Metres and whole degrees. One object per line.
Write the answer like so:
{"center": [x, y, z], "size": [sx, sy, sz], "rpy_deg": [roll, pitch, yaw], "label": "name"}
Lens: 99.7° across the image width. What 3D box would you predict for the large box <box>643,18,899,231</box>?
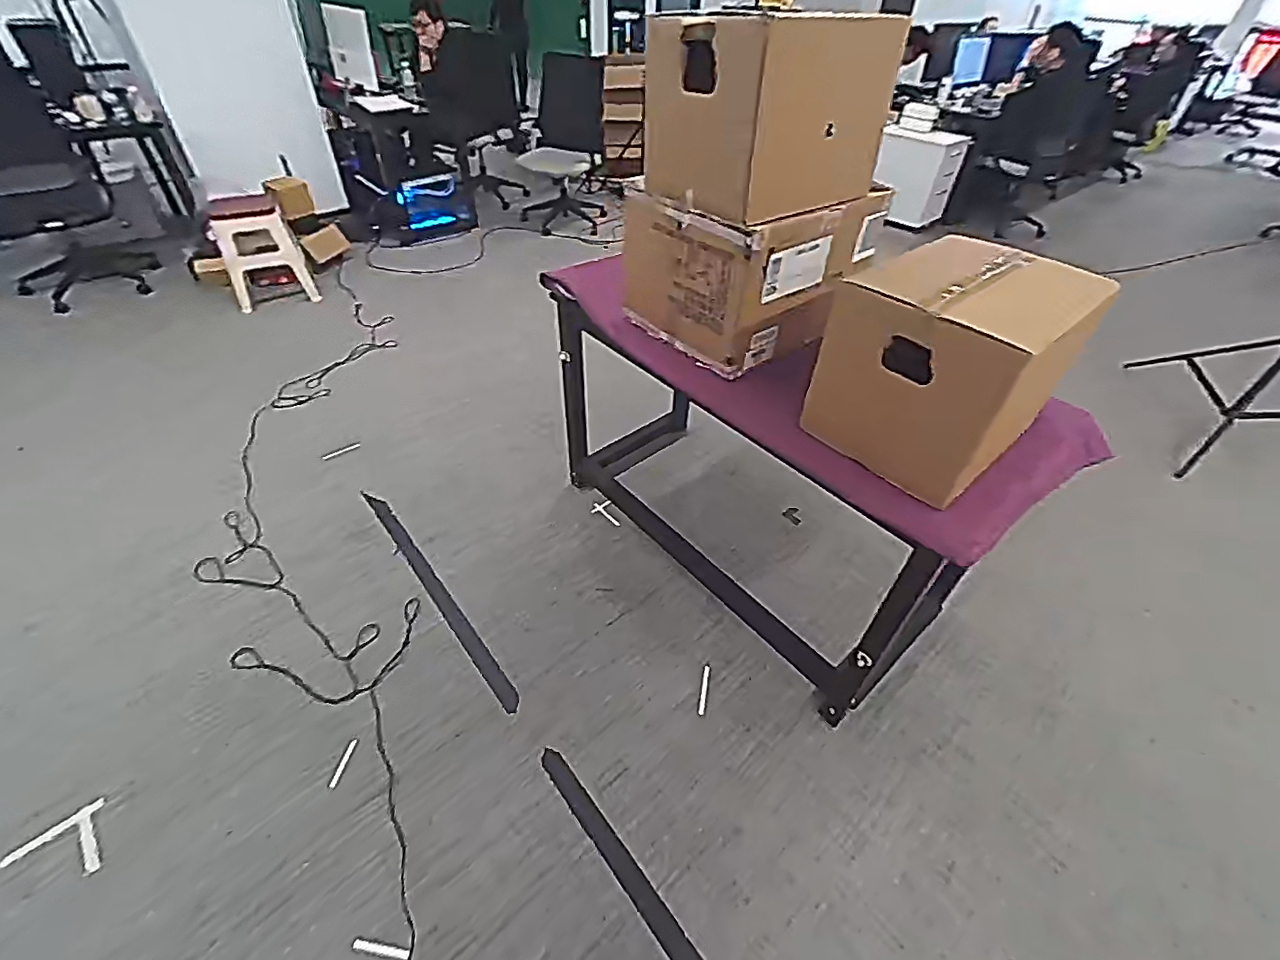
{"center": [0.252, -0.746, 1.118], "size": [0.408, 0.320, 0.320], "rpy_deg": [-28, 47, -28], "label": "large box"}
